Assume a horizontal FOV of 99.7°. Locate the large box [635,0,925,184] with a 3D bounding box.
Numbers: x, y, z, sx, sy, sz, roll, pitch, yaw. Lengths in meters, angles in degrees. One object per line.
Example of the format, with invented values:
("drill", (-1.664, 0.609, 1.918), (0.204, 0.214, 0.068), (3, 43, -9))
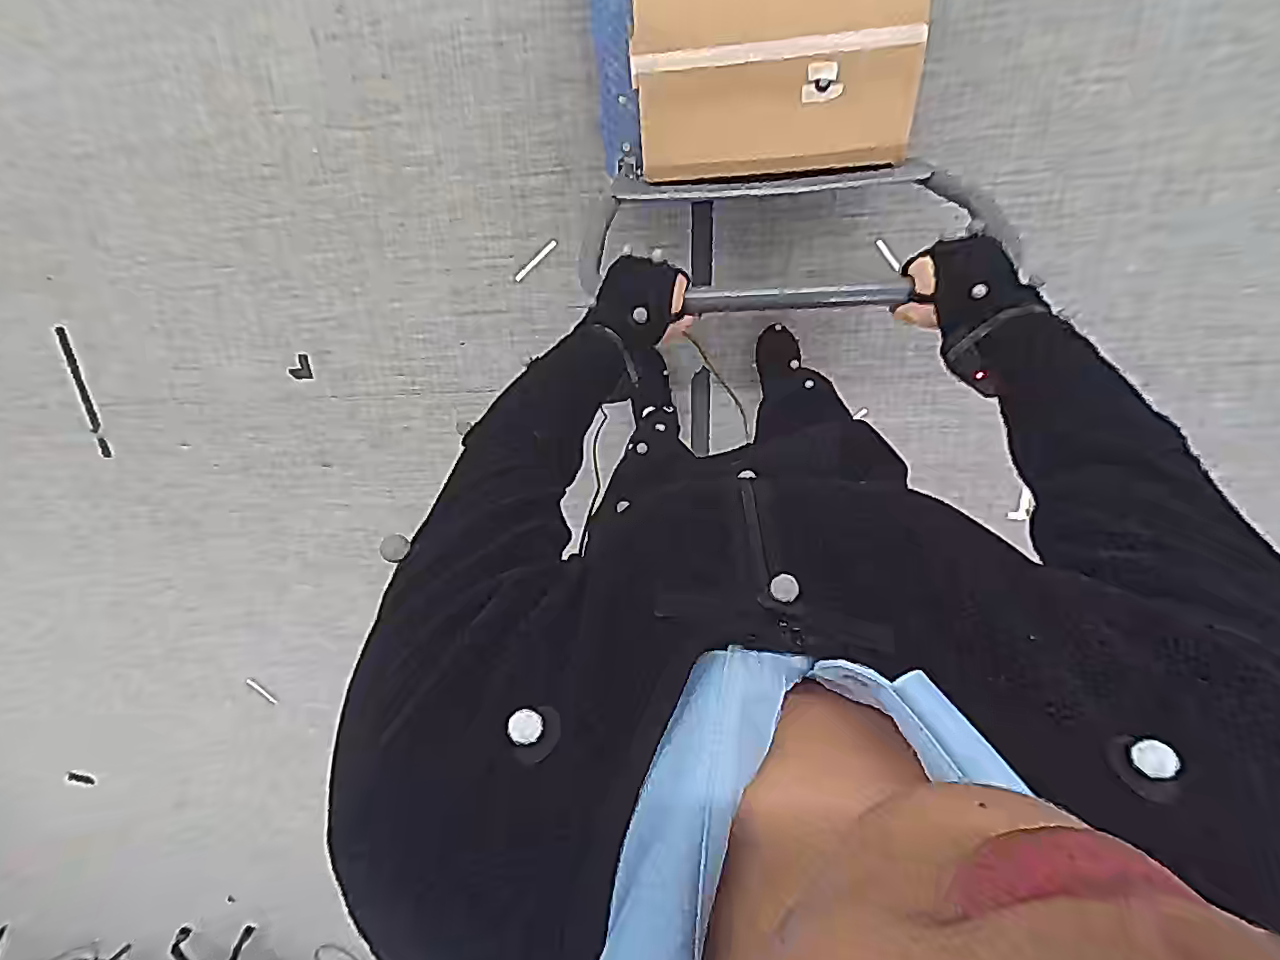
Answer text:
("large box", (0.208, -0.706, 0.906), (0.408, 0.320, 0.320), (-2, 125, 6))
